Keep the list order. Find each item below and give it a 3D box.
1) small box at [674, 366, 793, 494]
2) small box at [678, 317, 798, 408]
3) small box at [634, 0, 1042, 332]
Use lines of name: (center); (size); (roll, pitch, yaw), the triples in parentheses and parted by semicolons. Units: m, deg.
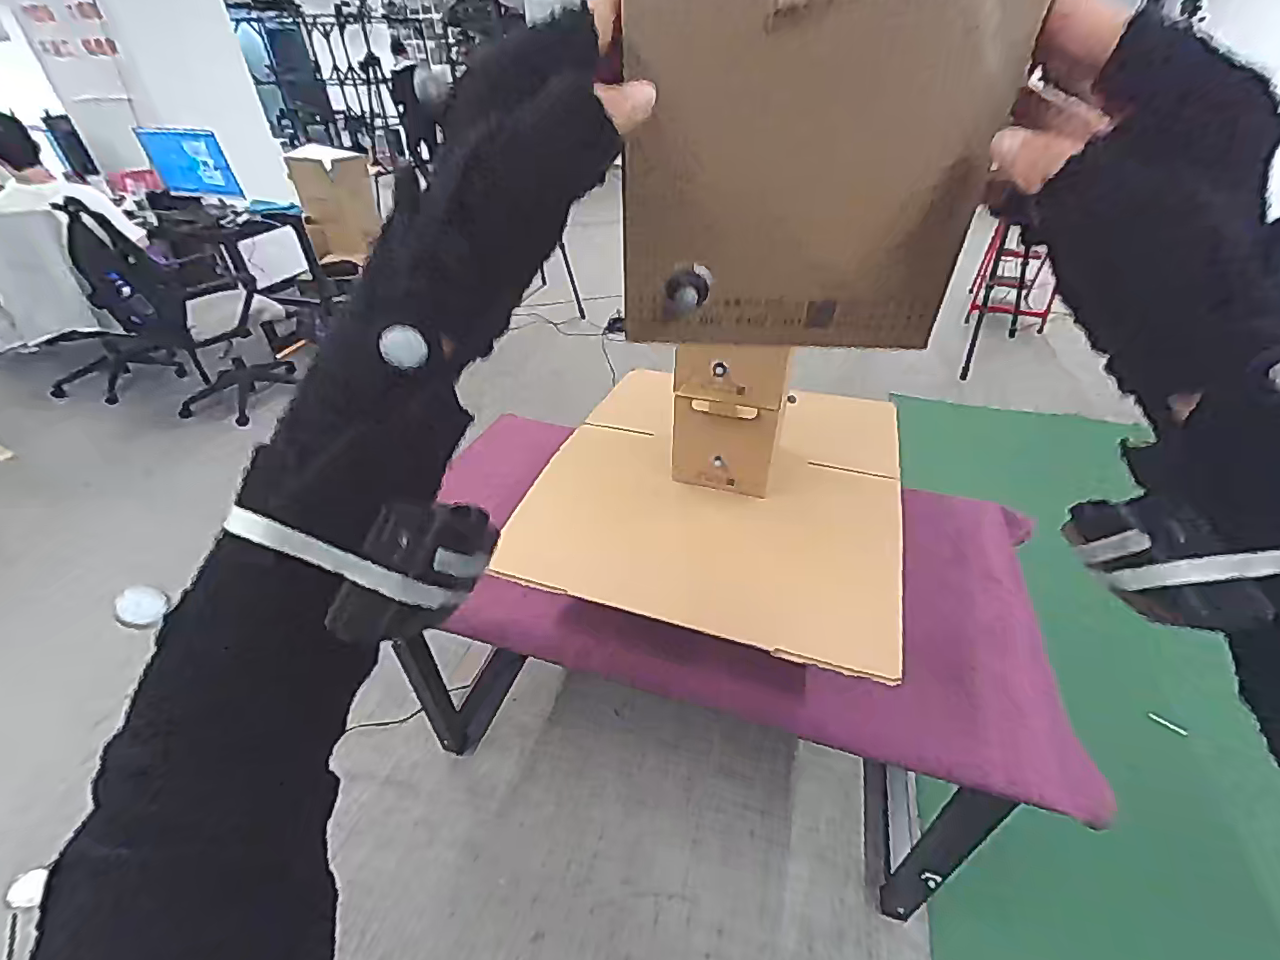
small box: (0.159, -0.103, 0.941); (0.168, 0.176, 0.179); (12, 38, 16)
small box: (0.159, -0.234, 0.845); (0.168, 0.176, 0.179); (11, 38, 14)
small box: (0.081, -0.196, 0.308); (0.168, 0.176, 0.179); (0, 41, 0)
